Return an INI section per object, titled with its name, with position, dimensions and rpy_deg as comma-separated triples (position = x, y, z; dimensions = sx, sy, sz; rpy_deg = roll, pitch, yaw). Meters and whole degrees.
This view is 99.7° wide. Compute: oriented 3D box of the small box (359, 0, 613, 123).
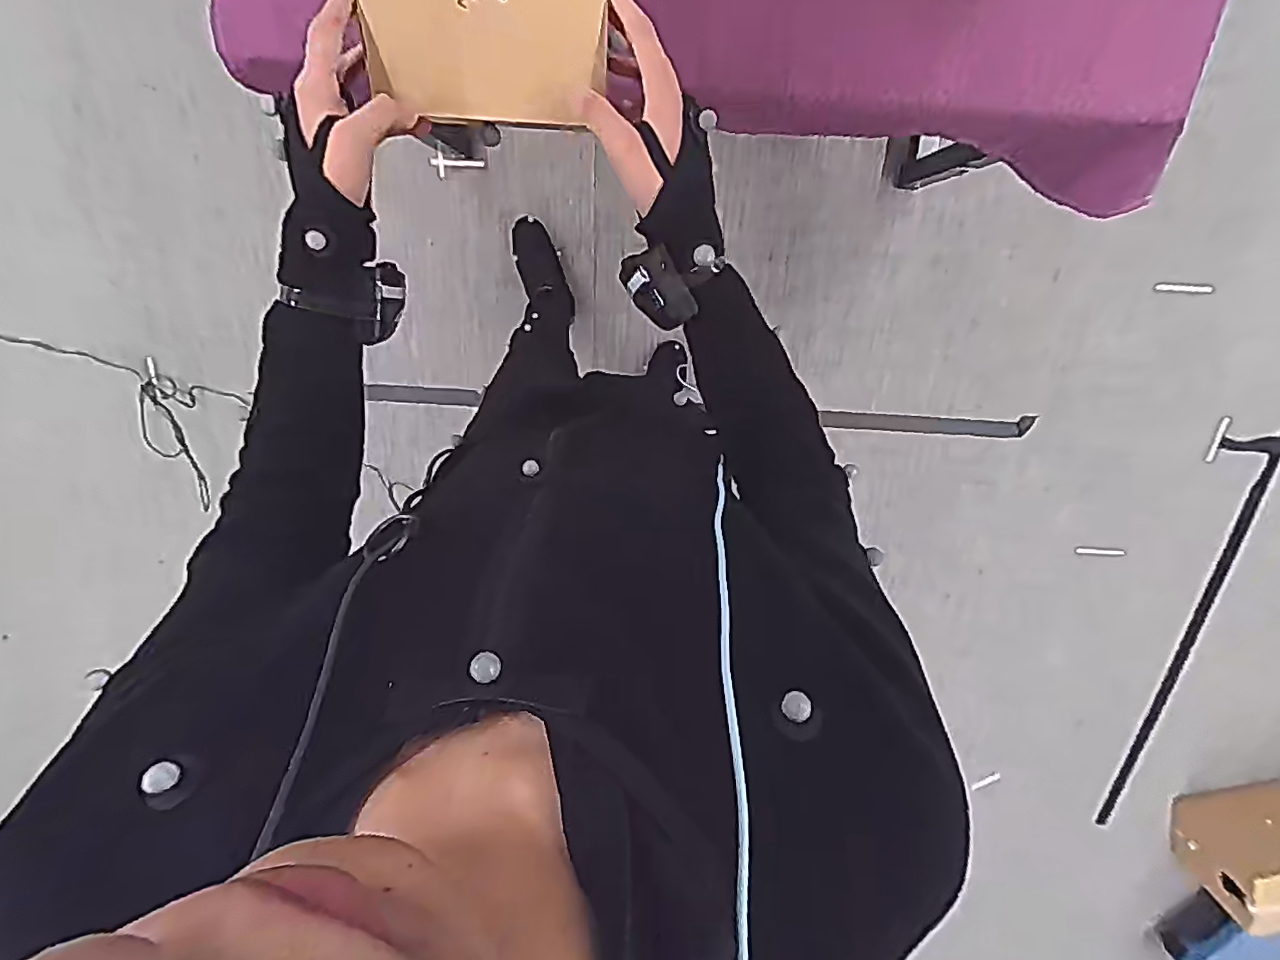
[small box]
position = -0.109, -0.389, 0.430
dimensions = 0.179, 0.176, 0.168
rpy_deg = 2, 123, -3
